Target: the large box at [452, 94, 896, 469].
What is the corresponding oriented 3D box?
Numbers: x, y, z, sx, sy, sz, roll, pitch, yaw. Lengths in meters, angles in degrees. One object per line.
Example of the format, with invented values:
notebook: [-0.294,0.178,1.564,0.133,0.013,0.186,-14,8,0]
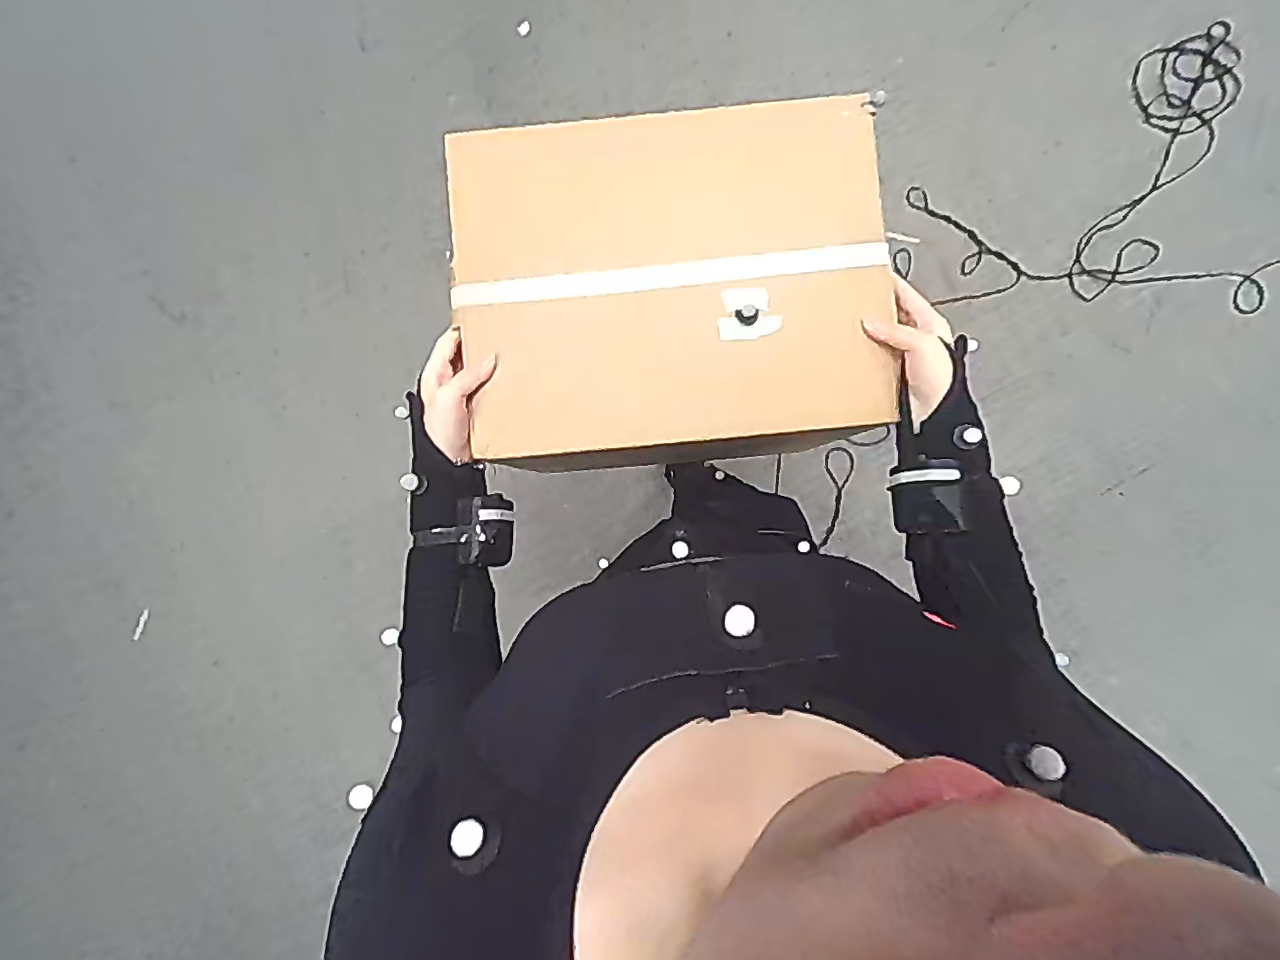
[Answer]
large box: [0.029,-0.195,0.663,0.408,0.320,0.320,-6,88,-1]
